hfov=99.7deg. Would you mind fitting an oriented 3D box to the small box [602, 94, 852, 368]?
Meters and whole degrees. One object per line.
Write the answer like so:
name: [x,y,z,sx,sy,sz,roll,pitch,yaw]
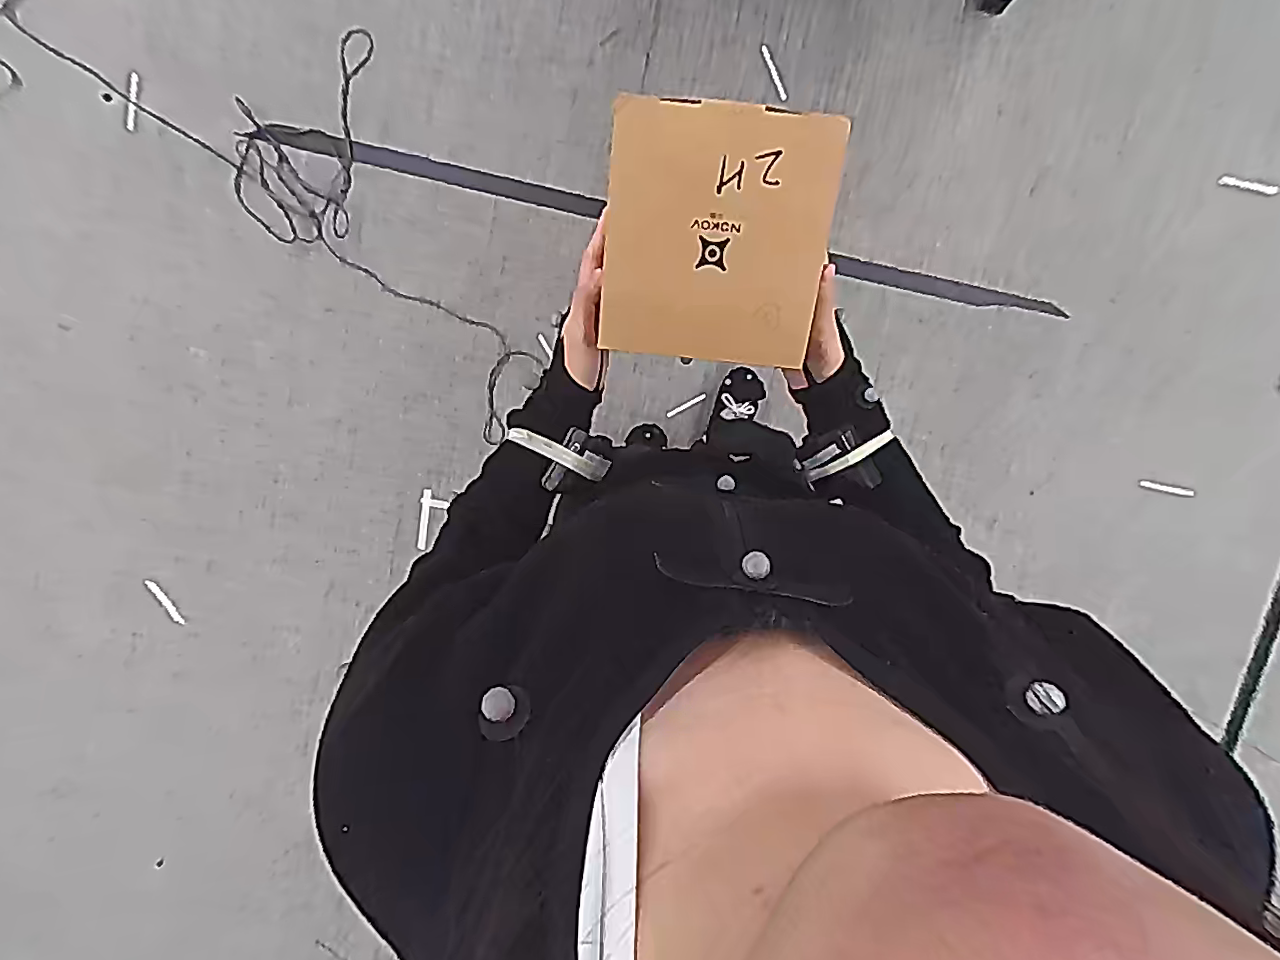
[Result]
small box: [0.062,-0.207,0.482,0.168,0.176,0.179,6,109,-1]
